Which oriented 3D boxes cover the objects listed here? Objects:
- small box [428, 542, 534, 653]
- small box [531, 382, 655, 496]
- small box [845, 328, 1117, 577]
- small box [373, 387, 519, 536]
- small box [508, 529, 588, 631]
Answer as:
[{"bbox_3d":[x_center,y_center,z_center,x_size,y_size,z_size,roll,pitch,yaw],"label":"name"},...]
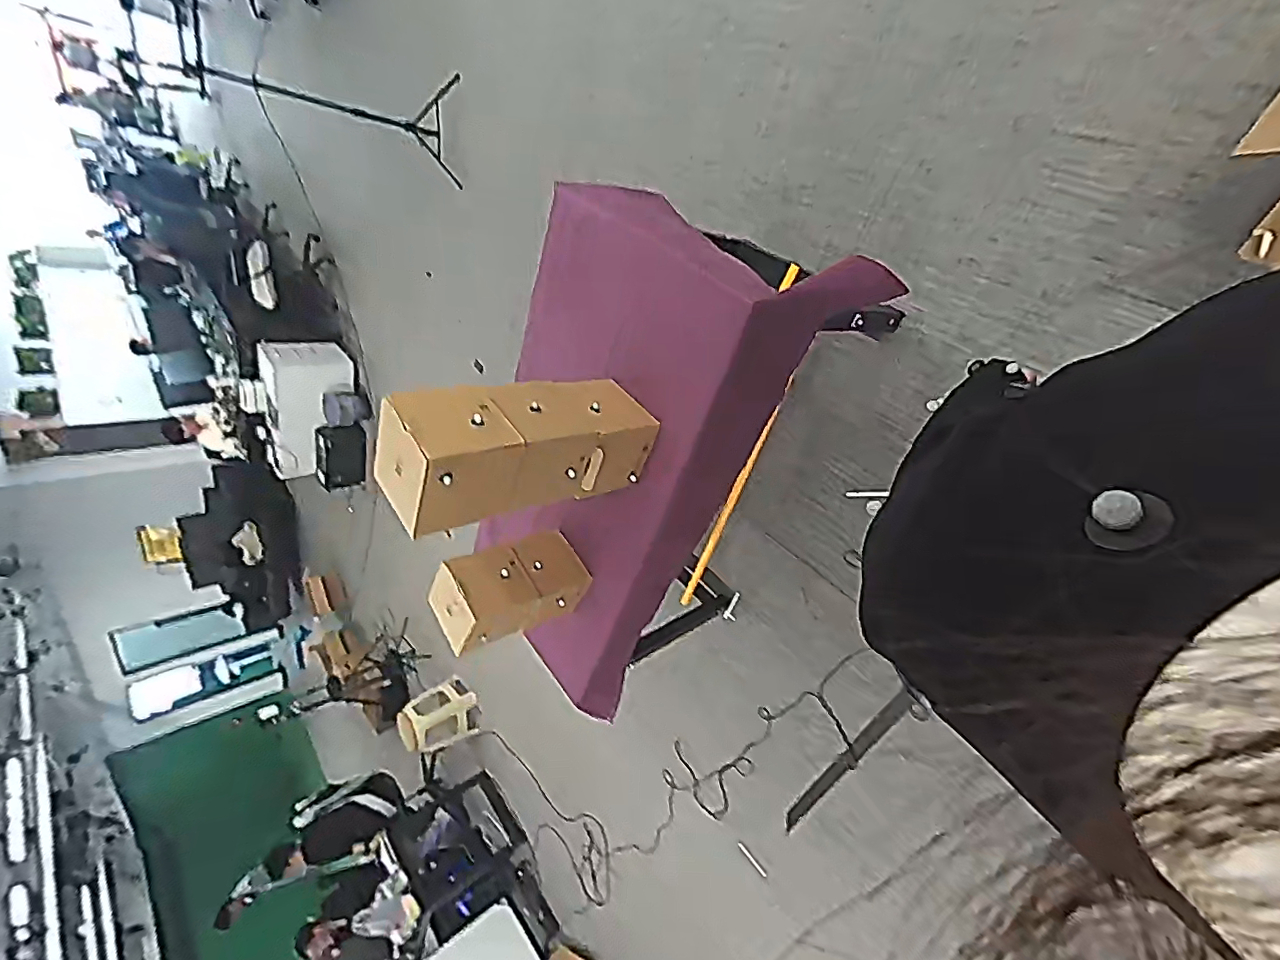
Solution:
[{"bbox_3d":[-0.375,0.275,1.281,0.168,0.176,0.179,52,131,22],"label":"small box"},{"bbox_3d":[-0.098,-0.096,1.132,0.179,0.176,0.168,46,129,29],"label":"small box"},{"bbox_3d":[0.345,-0.025,0.542,0.176,0.179,0.168,-15,118,52],"label":"small box"},{"bbox_3d":[-0.324,-0.038,0.904,0.168,0.176,0.179,47,129,27],"label":"small box"},{"bbox_3d":[-0.260,0.251,1.395,0.179,0.176,0.168,52,131,23],"label":"small box"}]
